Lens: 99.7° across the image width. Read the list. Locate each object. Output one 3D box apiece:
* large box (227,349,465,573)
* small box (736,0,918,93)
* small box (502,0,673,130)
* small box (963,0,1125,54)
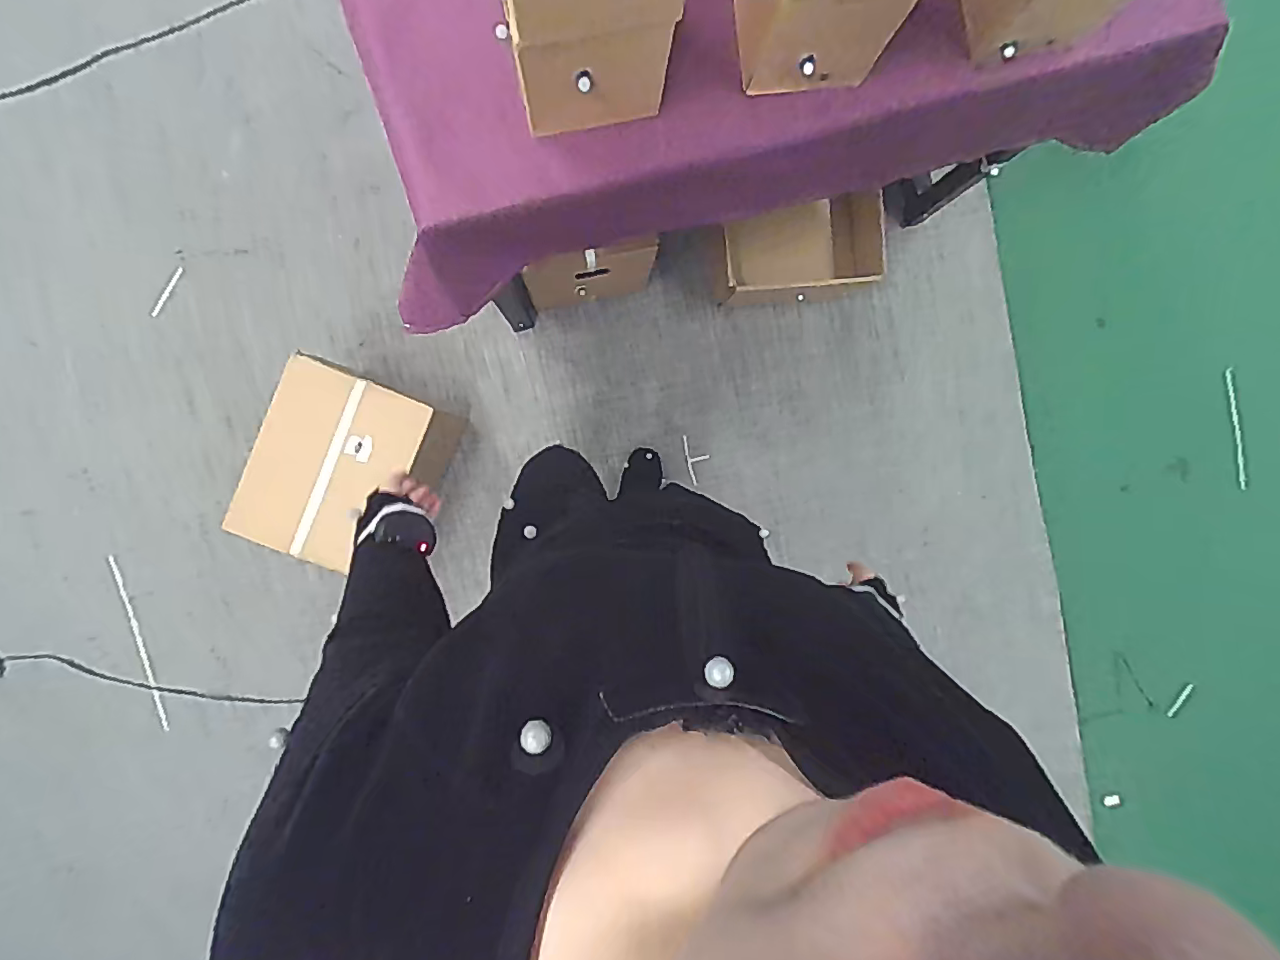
[{"bbox_3d":[-0.666,-0.041,1.288,0.320,0.320,0.408,22,90,-6],"label":"large box"},{"bbox_3d":[0.220,-0.621,0.663,0.168,0.176,0.179,-8,95,-4],"label":"small box"},{"bbox_3d":[-0.068,-0.552,0.642,0.179,0.176,0.168,-12,95,-3],"label":"small box"},{"bbox_3d":[0.535,-0.682,0.682,0.168,0.176,0.179,-12,93,-4],"label":"small box"}]
